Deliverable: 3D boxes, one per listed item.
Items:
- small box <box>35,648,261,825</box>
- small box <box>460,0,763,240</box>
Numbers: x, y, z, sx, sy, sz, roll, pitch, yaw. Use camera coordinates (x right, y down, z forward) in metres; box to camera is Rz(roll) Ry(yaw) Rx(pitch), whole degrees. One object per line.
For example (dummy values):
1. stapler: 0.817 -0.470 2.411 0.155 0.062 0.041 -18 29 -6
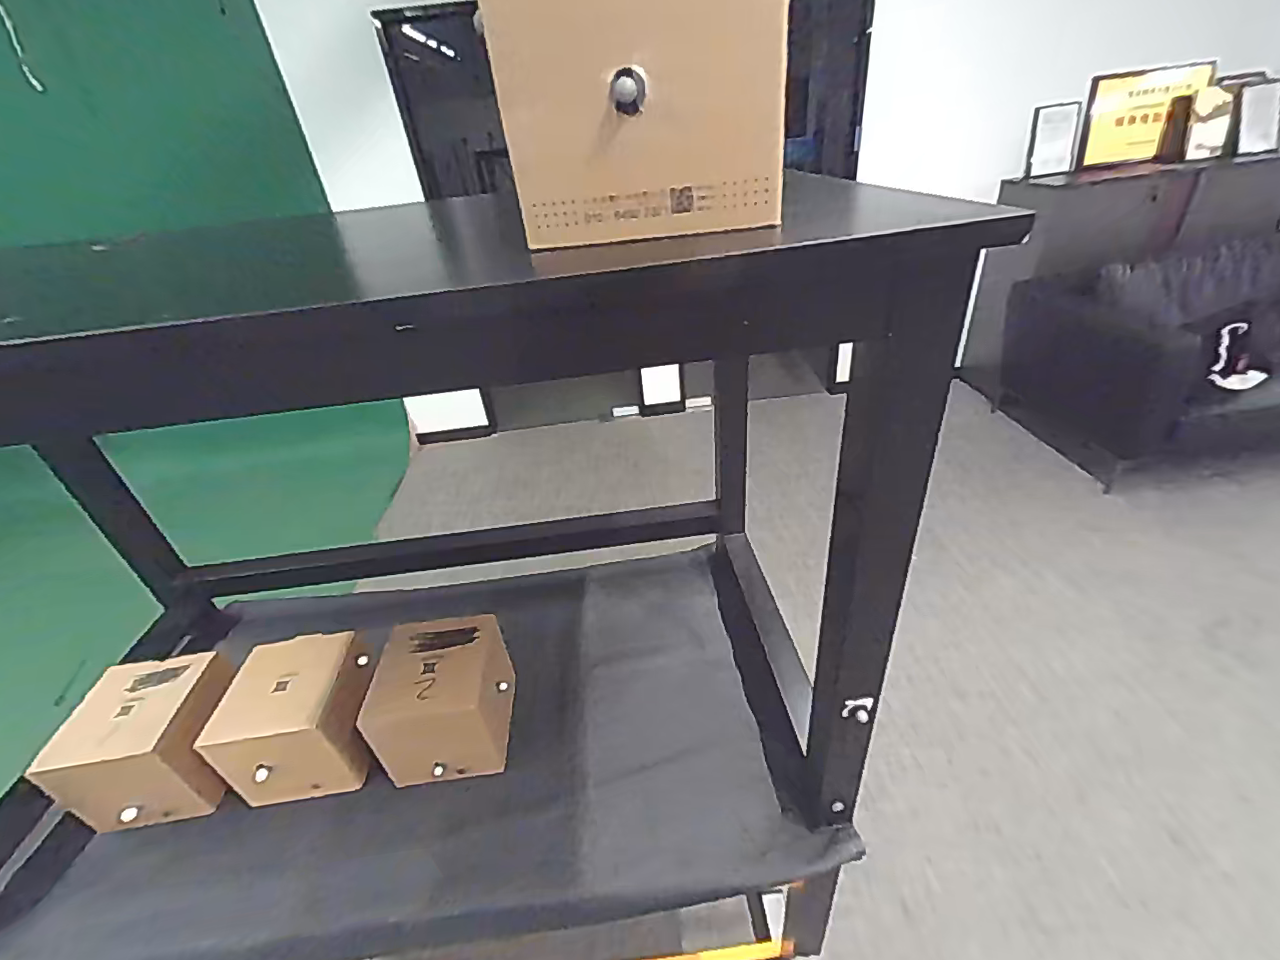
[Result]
1. small box: -0.734 0.395 0.840 0.168 0.176 0.179 -9 33 -3
2. small box: -0.003 -0.271 0.376 0.168 0.176 0.179 -2 33 8
